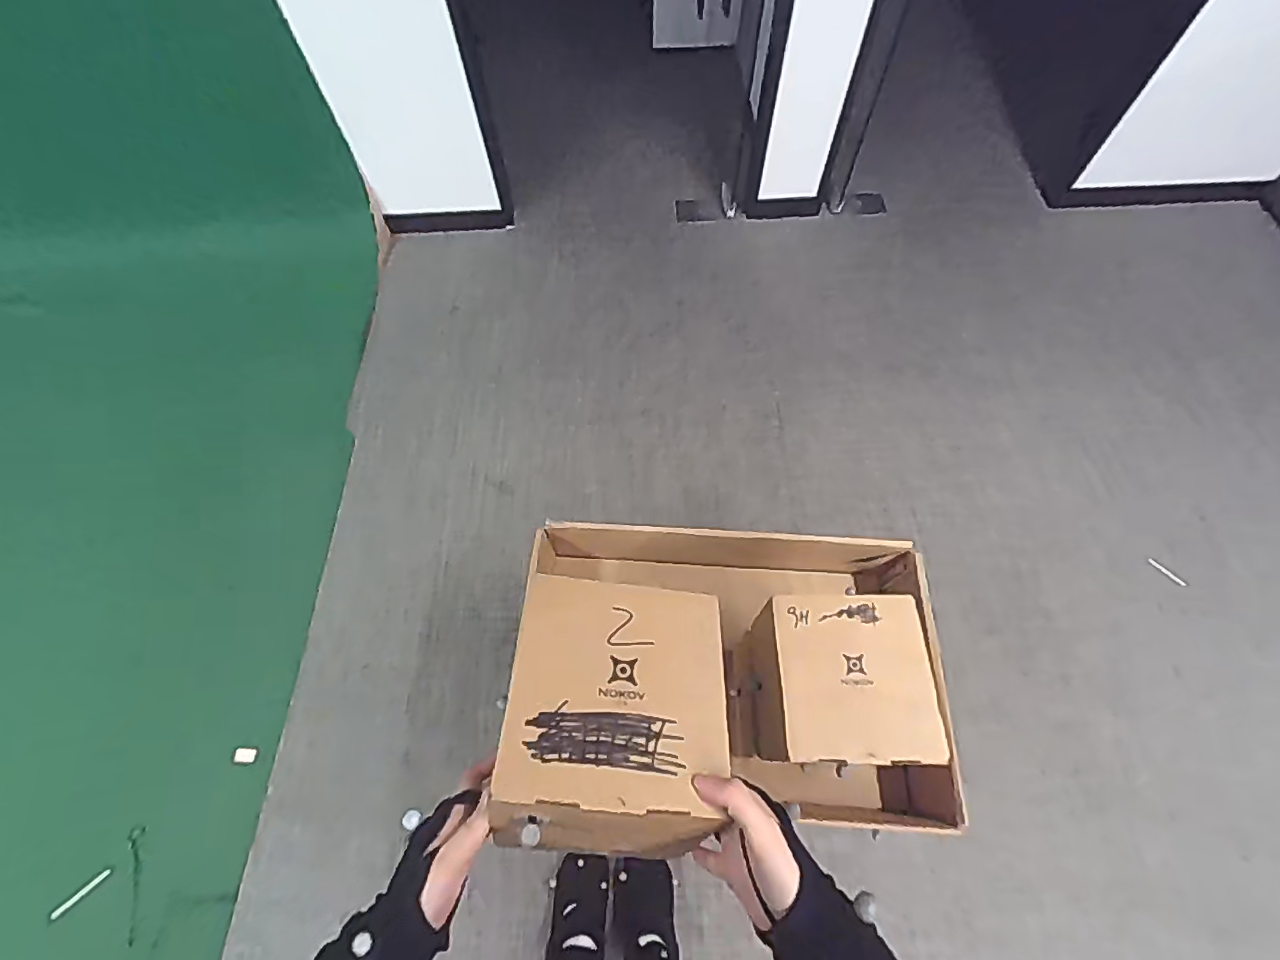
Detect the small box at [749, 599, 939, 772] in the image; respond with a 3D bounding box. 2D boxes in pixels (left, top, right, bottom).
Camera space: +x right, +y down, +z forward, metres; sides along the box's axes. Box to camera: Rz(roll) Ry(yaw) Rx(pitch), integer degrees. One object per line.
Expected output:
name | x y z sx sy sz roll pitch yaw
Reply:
small box | 0.231 0.253 0.663 0.168 0.176 0.179 1 64 1
